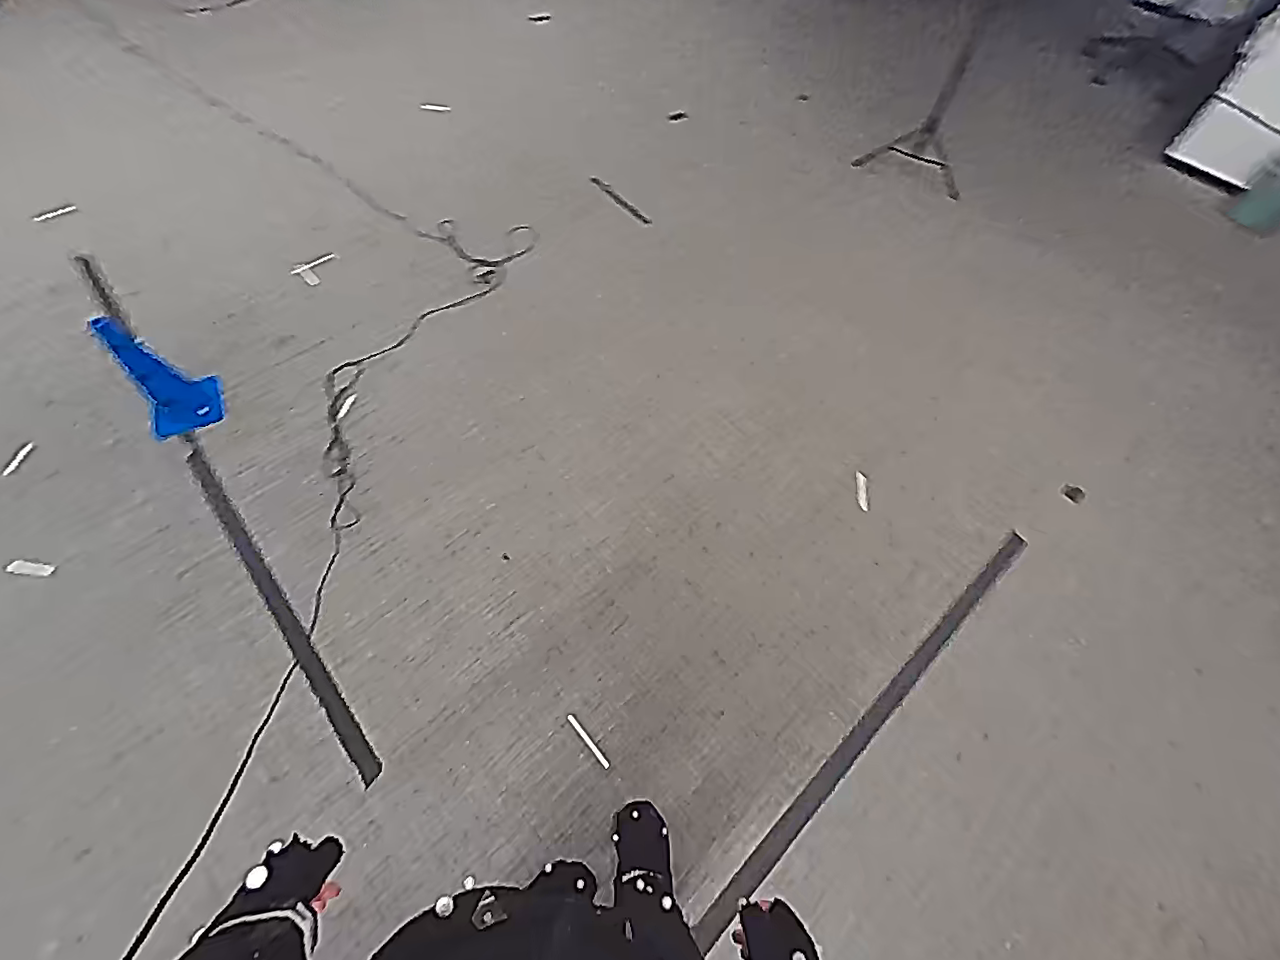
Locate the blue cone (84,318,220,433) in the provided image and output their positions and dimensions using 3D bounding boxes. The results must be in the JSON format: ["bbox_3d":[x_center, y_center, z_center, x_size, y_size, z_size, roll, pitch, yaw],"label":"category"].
[{"bbox_3d":[-1.433,-0.325,1.575,0.192,0.380,0.193,-21,63,-14],"label":"blue cone"}]
